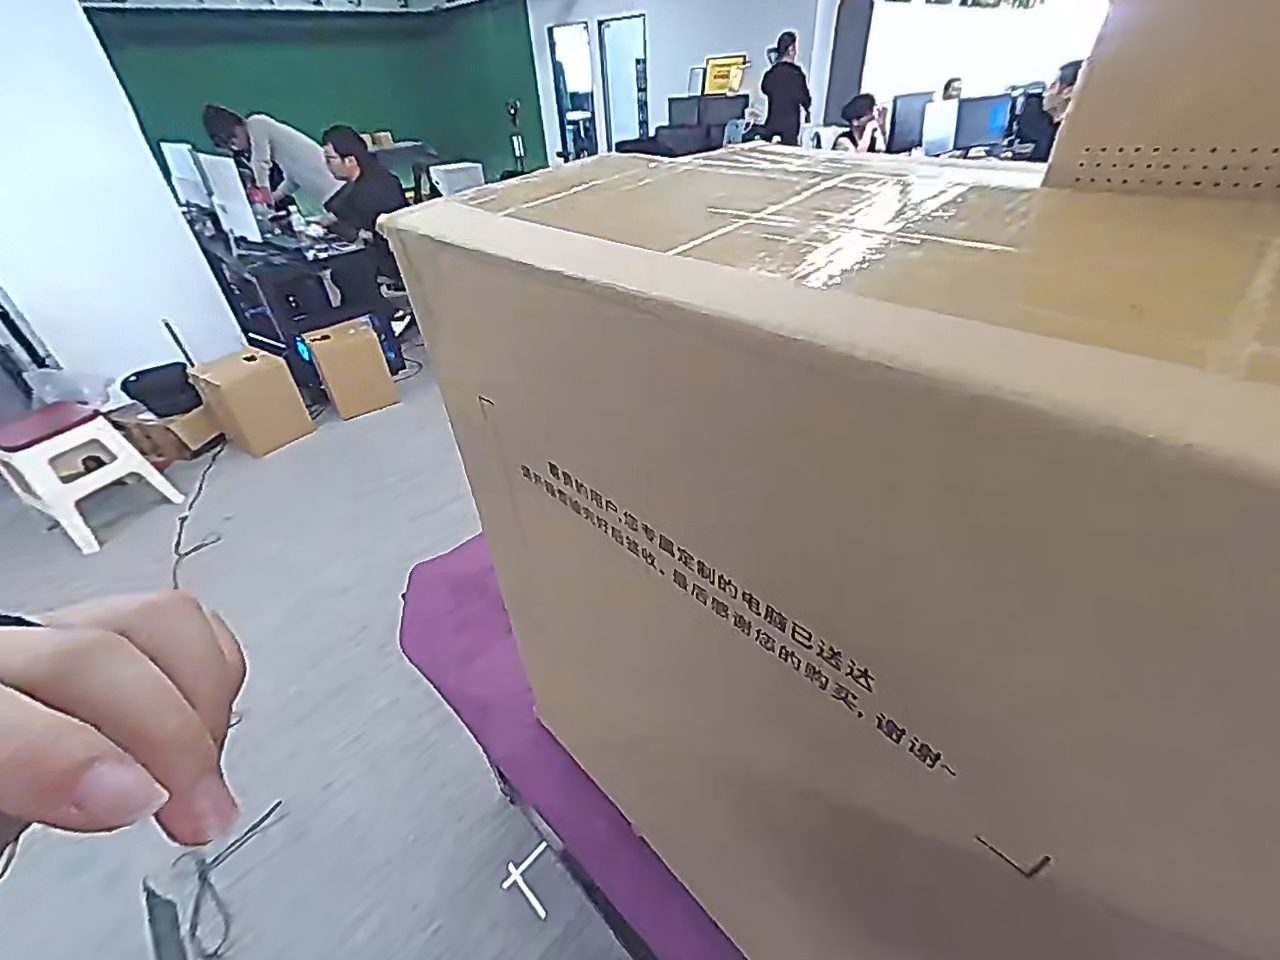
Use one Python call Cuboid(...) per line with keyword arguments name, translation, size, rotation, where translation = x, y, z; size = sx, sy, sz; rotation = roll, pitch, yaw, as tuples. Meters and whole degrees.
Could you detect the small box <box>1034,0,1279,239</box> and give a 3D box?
Cuboid(name="small box", translation=(0.318, -0.209, 0.237), size=(0.179, 0.176, 0.168), rotation=(24, 45, 34))
